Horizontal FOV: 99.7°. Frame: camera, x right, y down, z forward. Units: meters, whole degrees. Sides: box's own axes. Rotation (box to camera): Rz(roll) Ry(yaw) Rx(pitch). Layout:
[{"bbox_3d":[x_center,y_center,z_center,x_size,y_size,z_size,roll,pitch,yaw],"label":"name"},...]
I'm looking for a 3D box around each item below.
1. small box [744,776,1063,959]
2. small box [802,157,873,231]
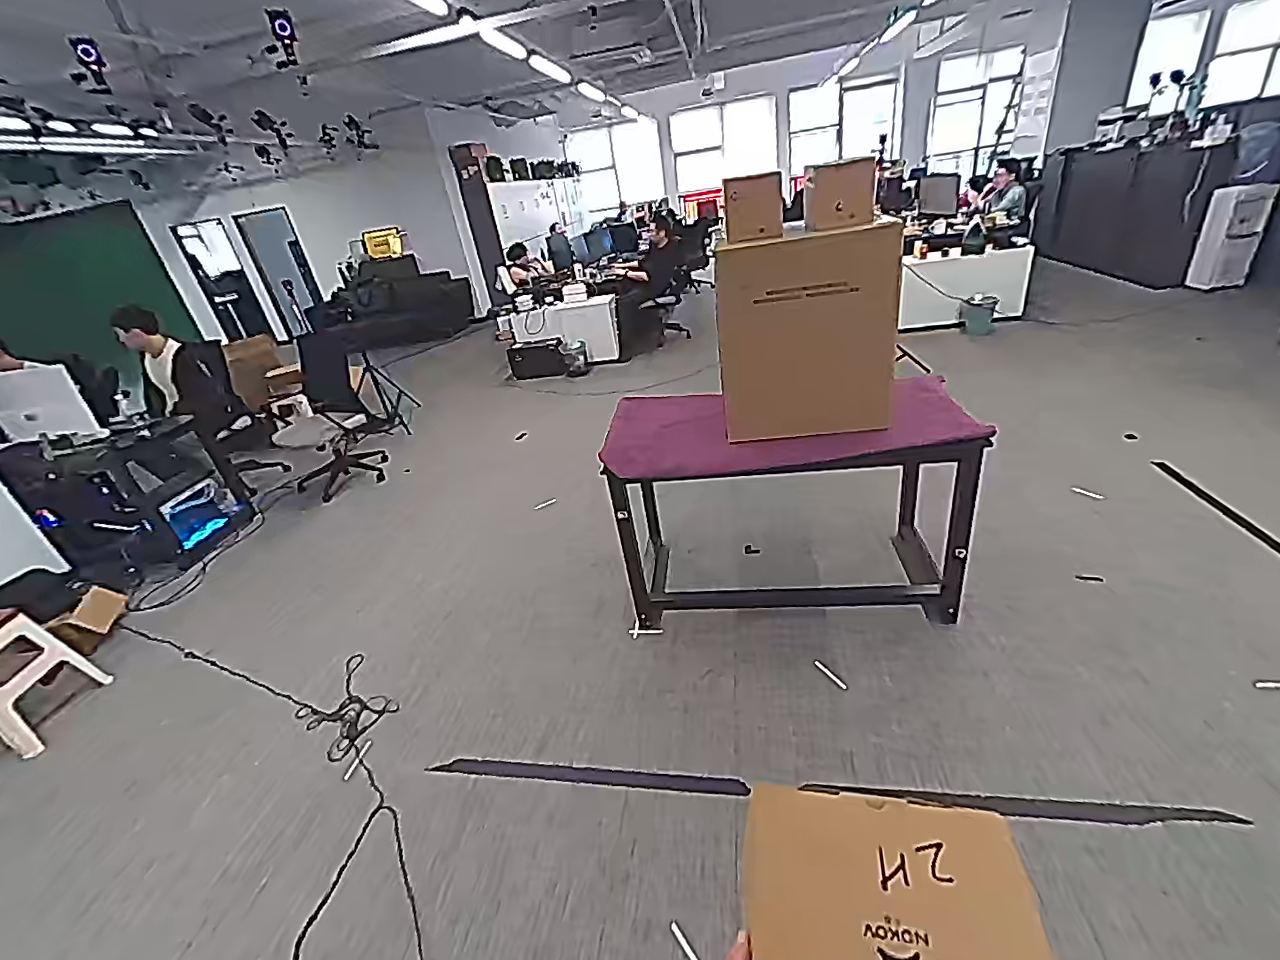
[{"bbox_3d":[0.155,0.328,0.351,0.168,0.176,0.179,2,37,9],"label":"small box"},{"bbox_3d":[0.576,-0.844,1.600,0.168,0.176,0.179,-6,30,8],"label":"small box"}]
